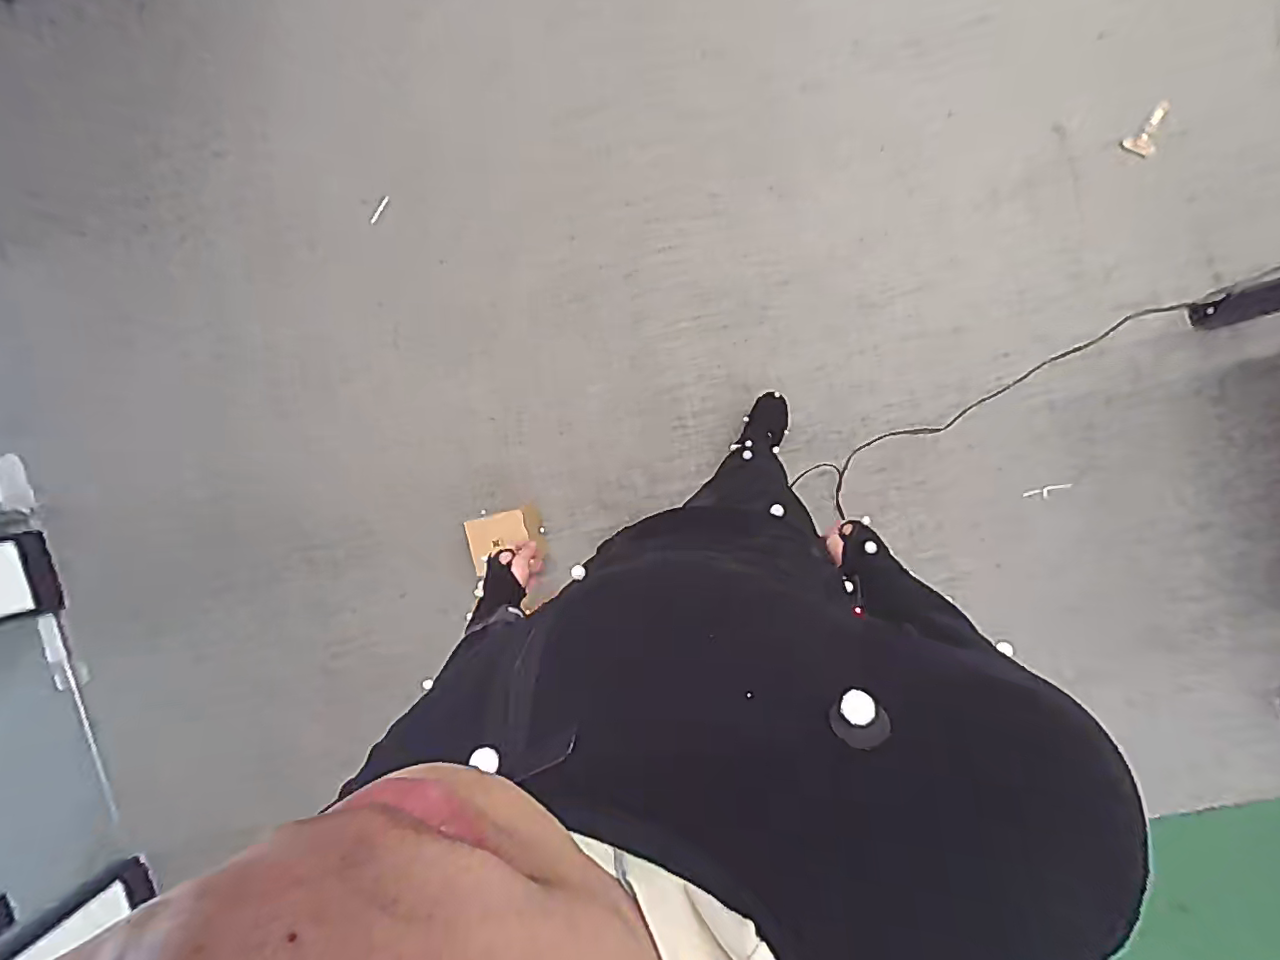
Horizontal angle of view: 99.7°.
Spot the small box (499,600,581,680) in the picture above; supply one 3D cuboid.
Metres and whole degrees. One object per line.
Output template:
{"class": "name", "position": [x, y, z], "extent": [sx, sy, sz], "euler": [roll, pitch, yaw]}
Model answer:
{"class": "small box", "position": [-0.296, 0.478, 1.632], "extent": [0.179, 0.176, 0.168], "euler": [-15, 92, 7]}

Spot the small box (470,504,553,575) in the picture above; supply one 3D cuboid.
{"class": "small box", "position": [-0.380, 0.175, 1.619], "extent": [0.179, 0.176, 0.168], "euler": [-12, 92, 7]}
